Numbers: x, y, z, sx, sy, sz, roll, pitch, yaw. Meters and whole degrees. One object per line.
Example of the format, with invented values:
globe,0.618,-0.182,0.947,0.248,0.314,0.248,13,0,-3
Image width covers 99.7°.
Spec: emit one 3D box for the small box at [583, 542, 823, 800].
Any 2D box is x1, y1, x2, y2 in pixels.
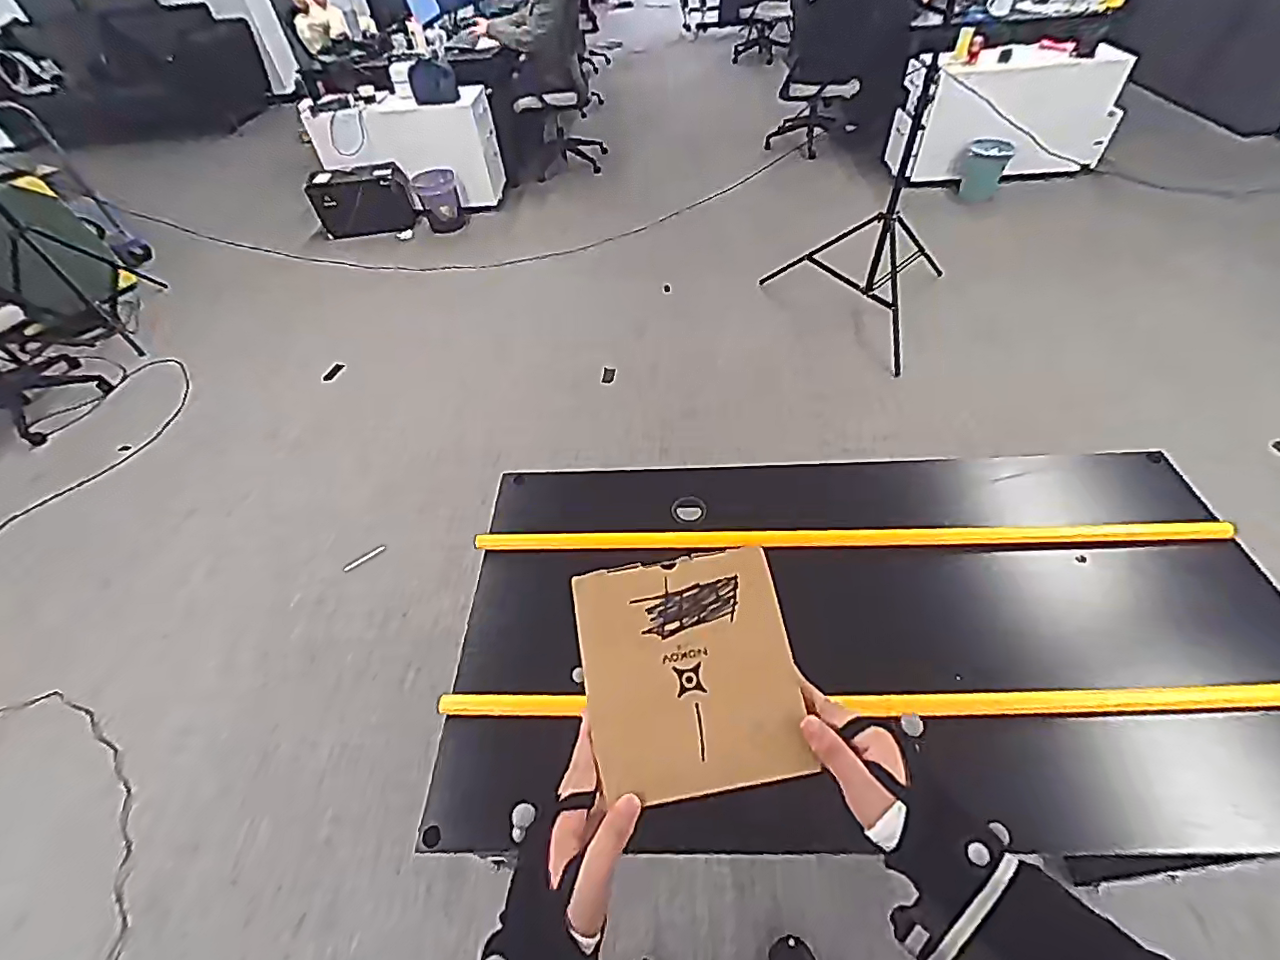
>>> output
small box,0.044,0.174,0.502,0.168,0.176,0.179,-9,68,-3
